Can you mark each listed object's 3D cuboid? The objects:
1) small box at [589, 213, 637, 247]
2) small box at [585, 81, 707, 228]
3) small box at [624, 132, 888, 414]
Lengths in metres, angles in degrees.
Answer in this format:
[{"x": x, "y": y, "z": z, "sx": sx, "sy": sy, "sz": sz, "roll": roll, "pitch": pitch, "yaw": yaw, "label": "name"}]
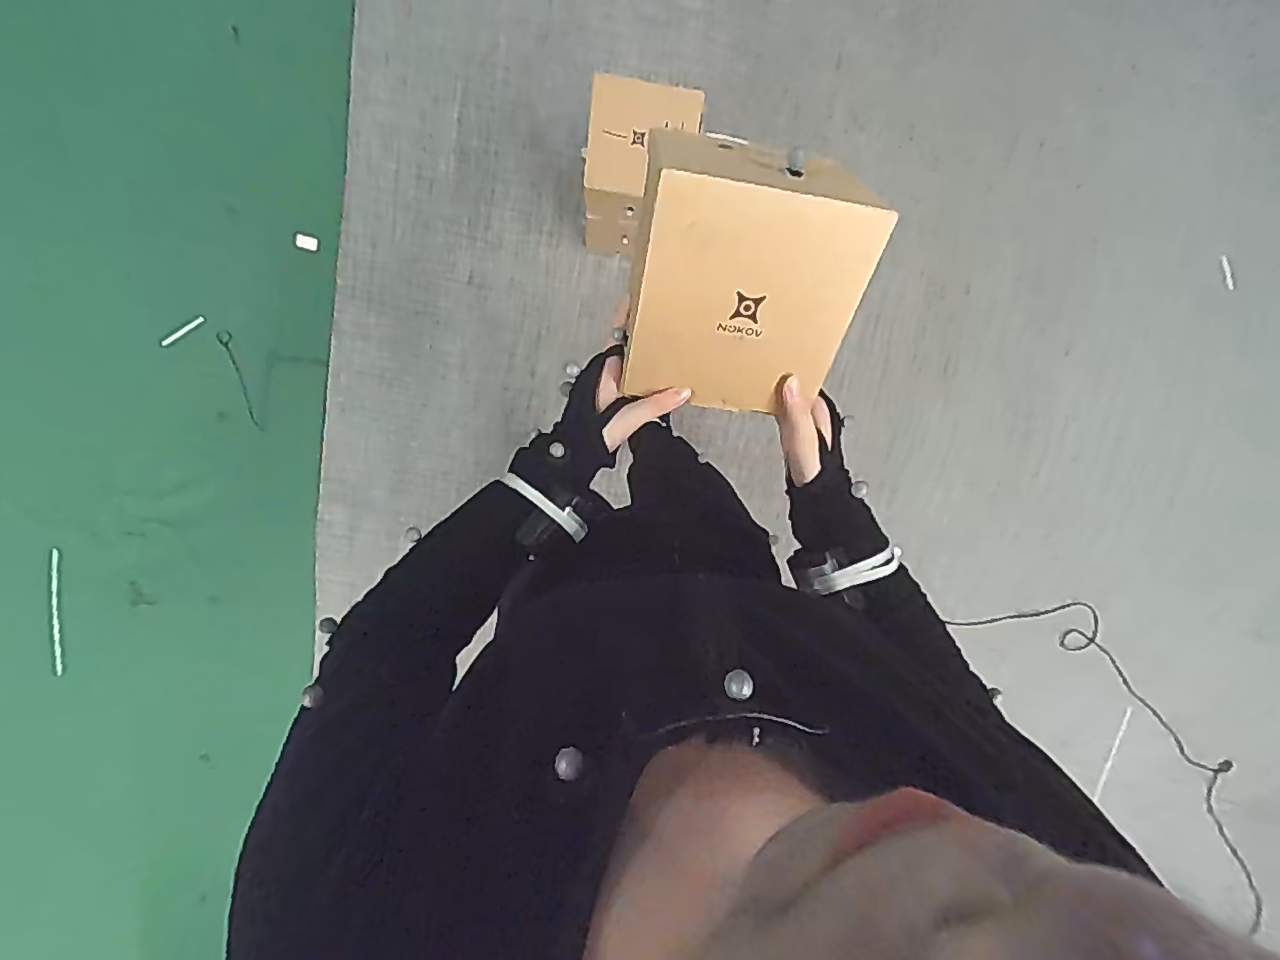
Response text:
[{"x": -0.013, "y": -0.584, "z": 1.095, "sx": 0.168, "sy": 0.176, "sz": 0.179, "roll": 5, "pitch": 102, "yaw": -4, "label": "small box"}, {"x": 0.004, "y": -0.545, "z": 0.936, "sx": 0.179, "sy": 0.176, "sz": 0.168, "roll": 7, "pitch": 102, "yaw": -4, "label": "small box"}, {"x": 0.079, "y": -0.186, "z": 0.479, "sx": 0.168, "sy": 0.176, "sz": 0.179, "roll": 7, "pitch": 132, "yaw": -6, "label": "small box"}]
